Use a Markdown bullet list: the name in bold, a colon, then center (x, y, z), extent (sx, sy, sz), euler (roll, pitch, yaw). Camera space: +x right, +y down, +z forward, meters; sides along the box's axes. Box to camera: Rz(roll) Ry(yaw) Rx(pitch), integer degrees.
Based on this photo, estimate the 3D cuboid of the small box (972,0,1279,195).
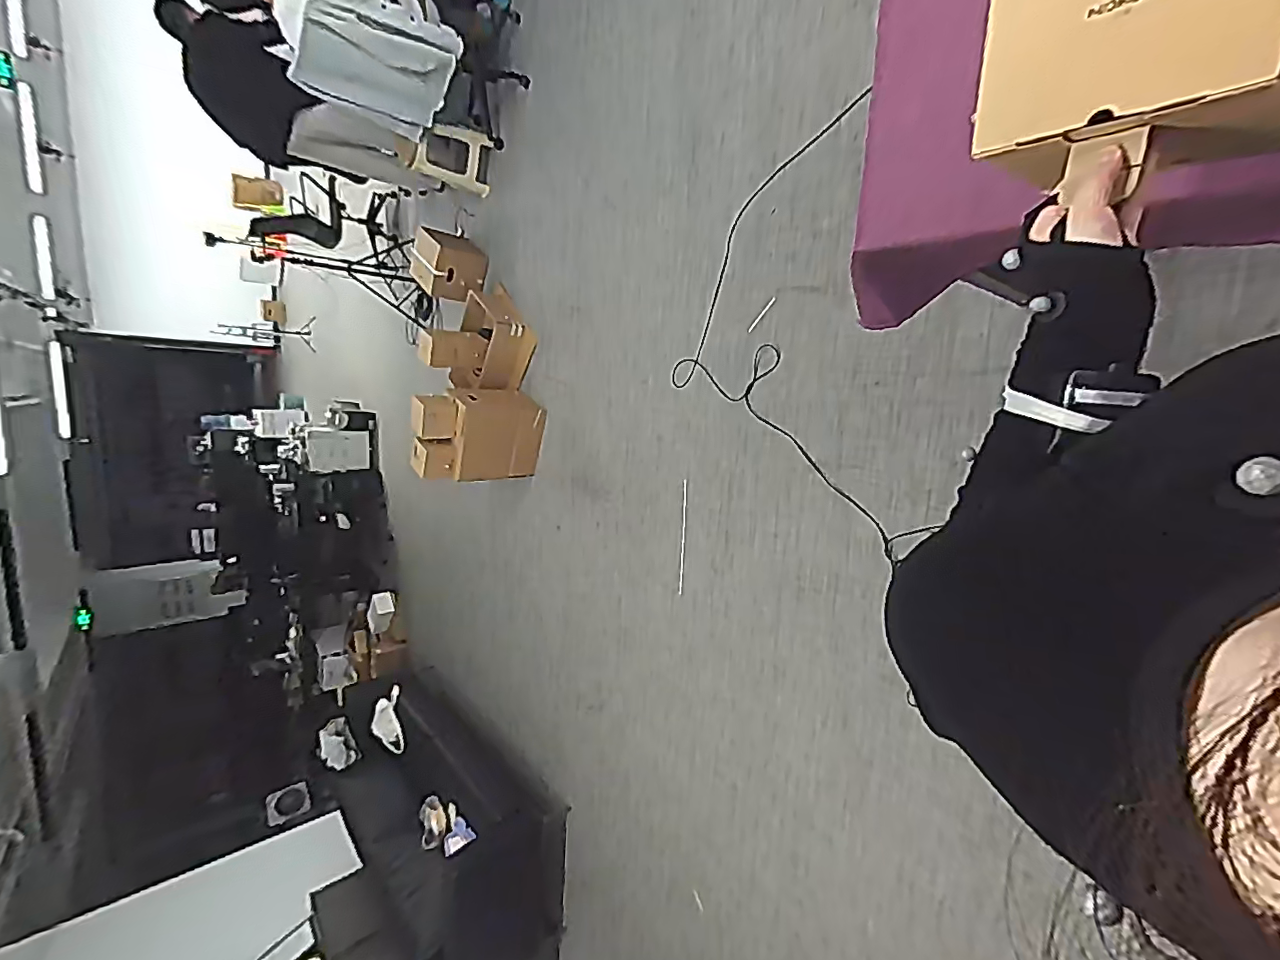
- **small box**: center (0.392, -0.345, 0.421), extent (0.168, 0.176, 0.179), euler (17, 112, 49)
